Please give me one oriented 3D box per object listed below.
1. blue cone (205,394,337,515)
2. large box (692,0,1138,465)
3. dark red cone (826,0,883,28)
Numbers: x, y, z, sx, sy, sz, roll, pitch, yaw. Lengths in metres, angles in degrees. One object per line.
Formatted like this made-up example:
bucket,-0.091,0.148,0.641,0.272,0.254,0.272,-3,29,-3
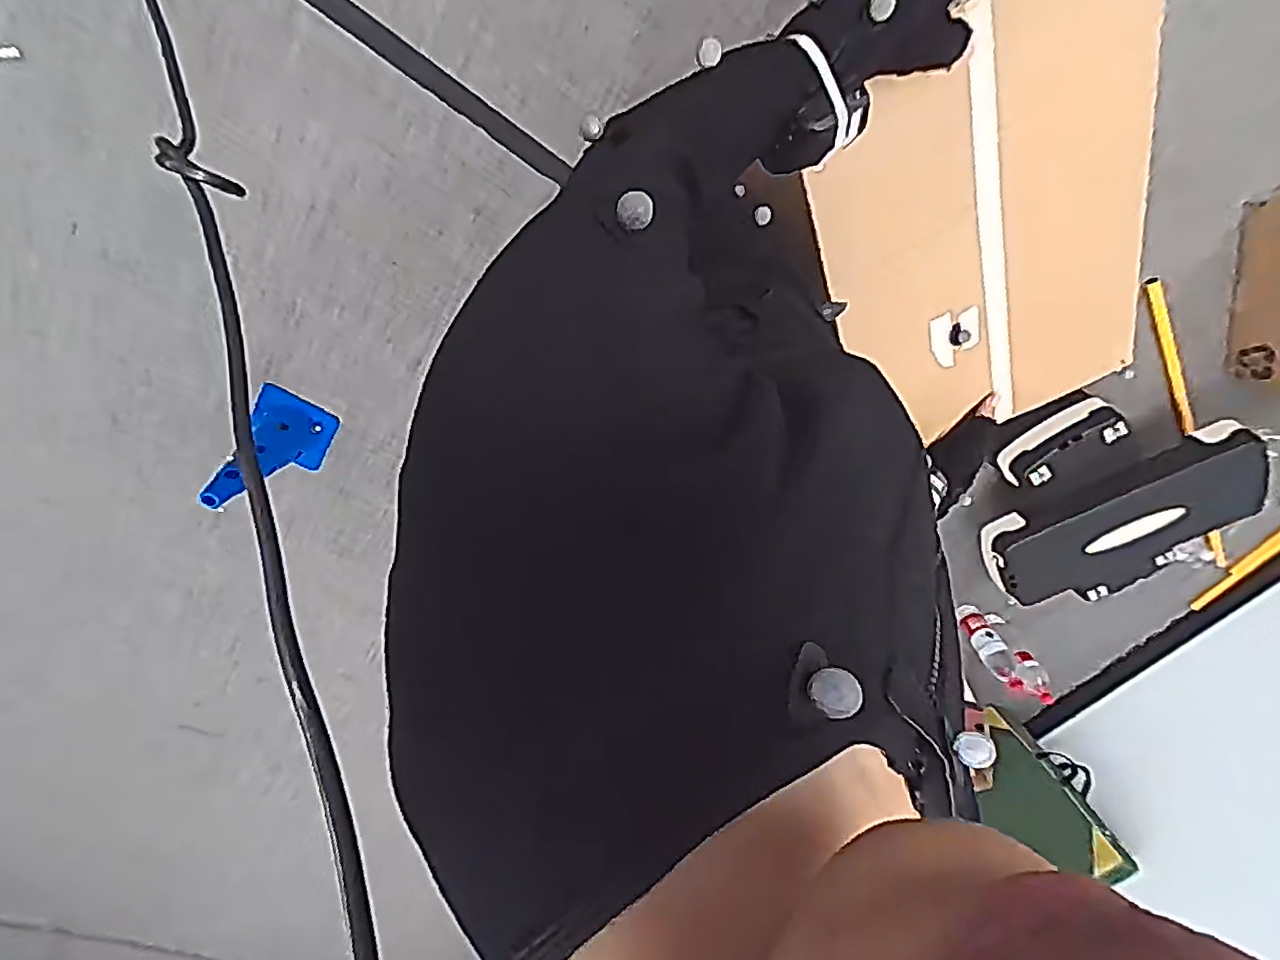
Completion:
blue cone,-0.931,-0.043,1.329,0.193,0.380,0.192,32,115,-20
large box,0.302,-0.303,0.654,0.320,0.320,0.408,-25,122,5
dark red cone,0.416,-0.910,0.857,0.202,0.394,0.201,34,114,-21
